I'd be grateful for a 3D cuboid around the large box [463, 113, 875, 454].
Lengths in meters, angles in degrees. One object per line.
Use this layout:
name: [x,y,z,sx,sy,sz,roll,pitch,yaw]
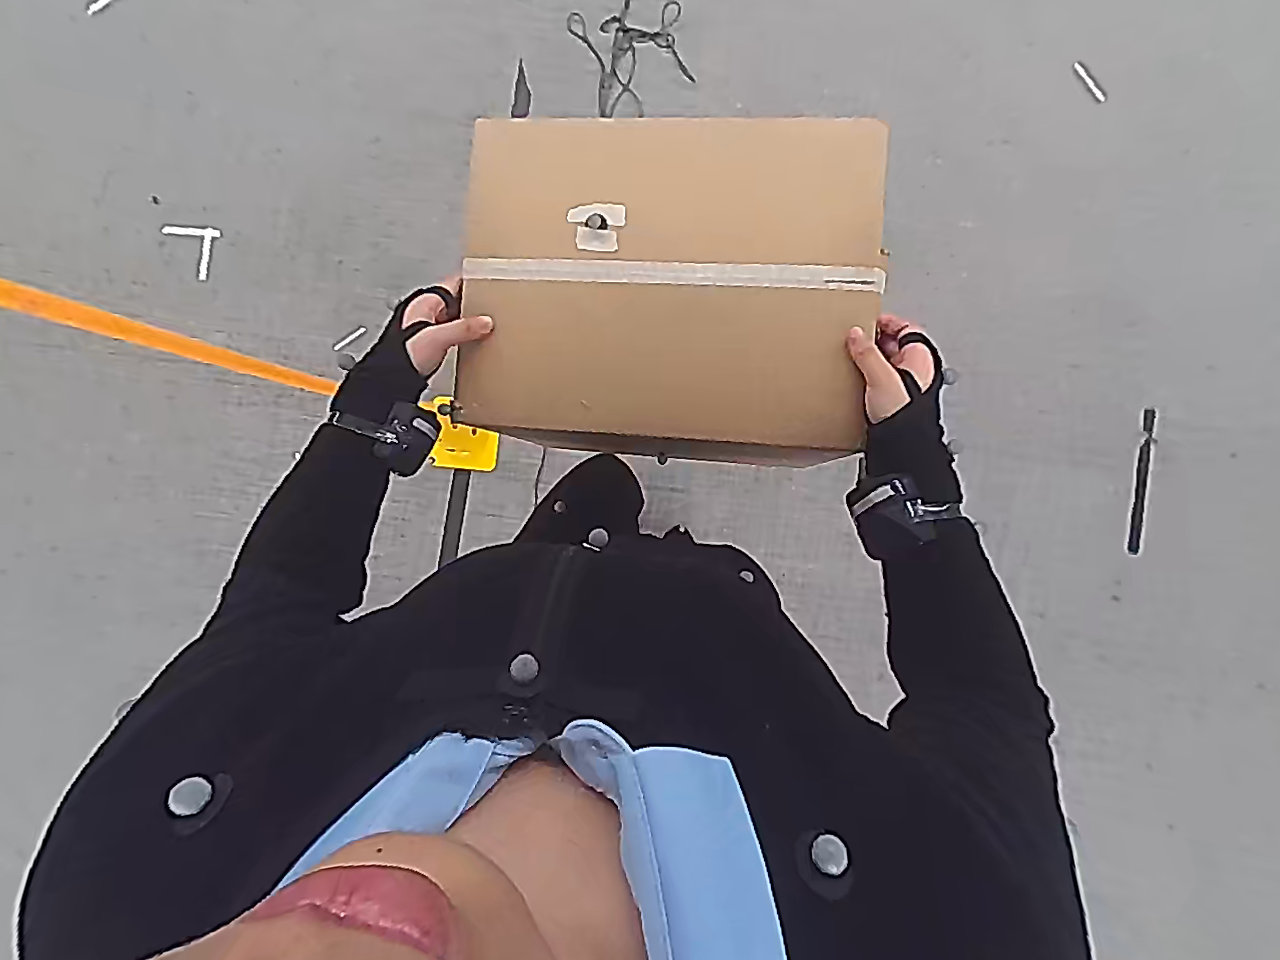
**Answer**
large box: [0.043,-0.201,0.683,0.408,0.320,0.320,4,88,8]
